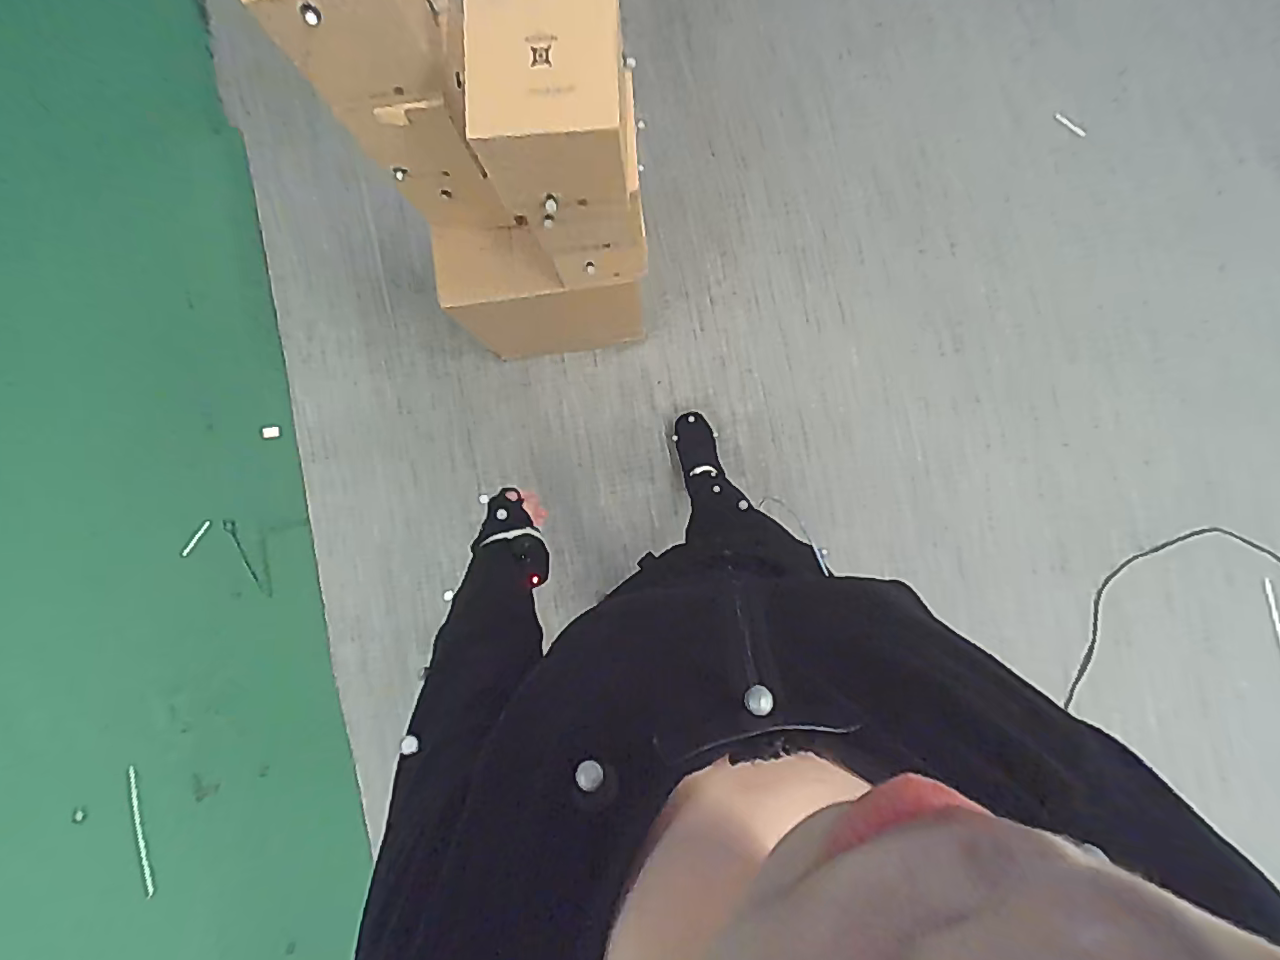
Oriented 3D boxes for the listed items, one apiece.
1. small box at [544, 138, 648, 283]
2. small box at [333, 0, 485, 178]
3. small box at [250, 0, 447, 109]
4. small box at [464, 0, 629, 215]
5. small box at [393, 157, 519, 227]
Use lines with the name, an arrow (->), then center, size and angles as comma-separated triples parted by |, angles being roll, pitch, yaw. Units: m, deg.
small box -> -0.079, -0.473, 0.980 | 0.168, 0.176, 0.179 | -9, 87, 2
small box -> -0.341, -0.594, 0.832 | 0.168, 0.176, 0.179 | 1, 87, 2
small box -> -0.353, -0.607, 0.668 | 0.168, 0.176, 0.179 | -6, 87, 3
small box -> -0.102, -0.449, 0.653 | 0.168, 0.176, 0.179 | -1, 88, 3
small box -> -0.329, -0.586, 0.996 | 0.179, 0.176, 0.168 | -1, 88, 2
